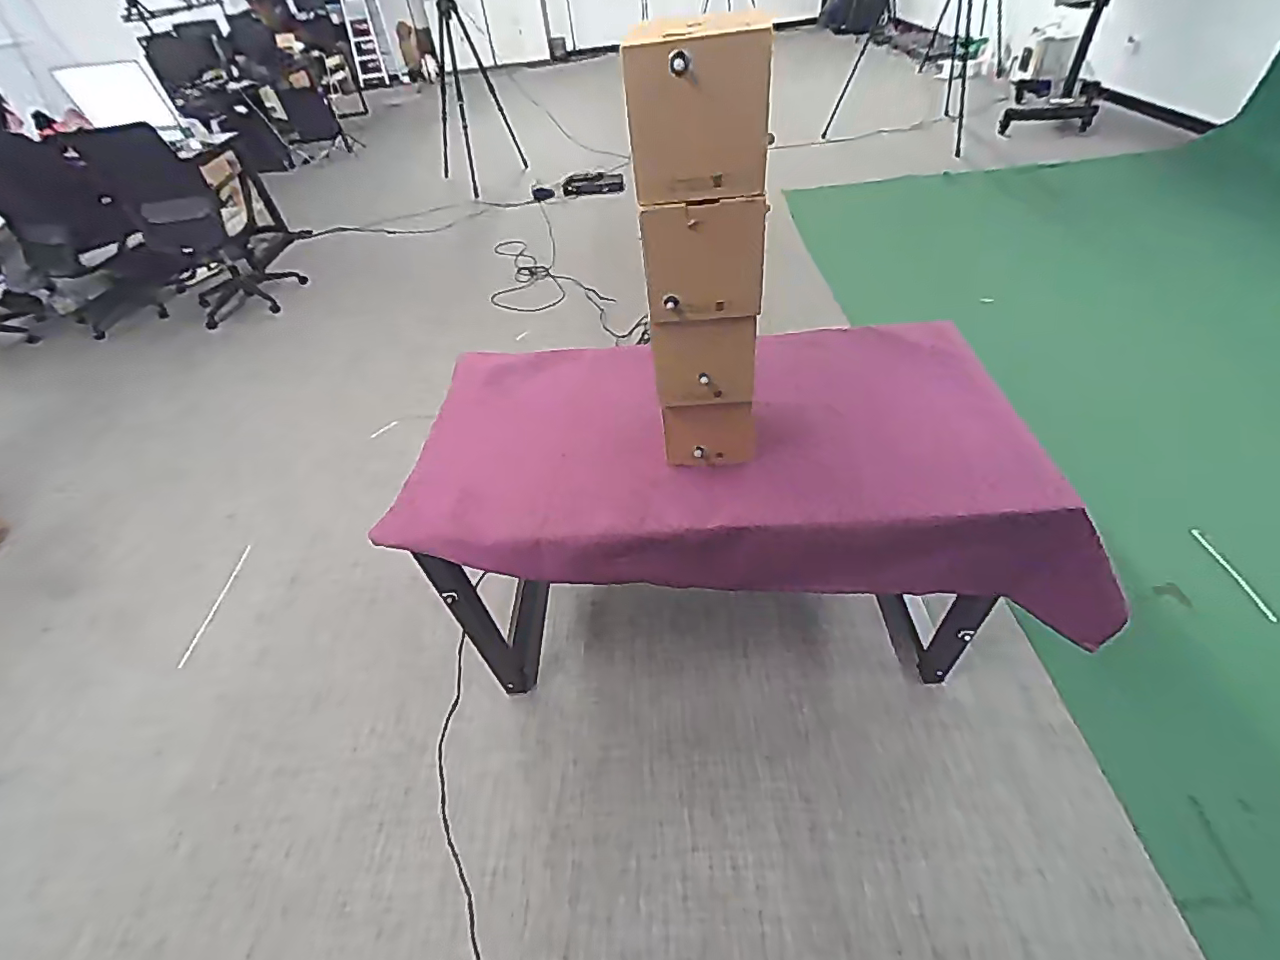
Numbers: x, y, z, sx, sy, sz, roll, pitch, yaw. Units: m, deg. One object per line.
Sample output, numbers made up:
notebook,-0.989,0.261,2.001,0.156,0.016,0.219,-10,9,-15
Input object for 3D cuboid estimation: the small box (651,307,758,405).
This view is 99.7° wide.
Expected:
small box,0.111,-0.250,0.937,0.168,0.176,0.179,-3,46,7

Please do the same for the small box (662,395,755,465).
small box,0.134,-0.148,1.063,0.168,0.176,0.179,-1,46,8

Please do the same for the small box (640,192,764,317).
small box,0.096,-0.357,0.813,0.168,0.176,0.179,-2,45,7

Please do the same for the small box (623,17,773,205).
small box,0.078,-0.474,0.701,0.168,0.176,0.179,-1,45,9
